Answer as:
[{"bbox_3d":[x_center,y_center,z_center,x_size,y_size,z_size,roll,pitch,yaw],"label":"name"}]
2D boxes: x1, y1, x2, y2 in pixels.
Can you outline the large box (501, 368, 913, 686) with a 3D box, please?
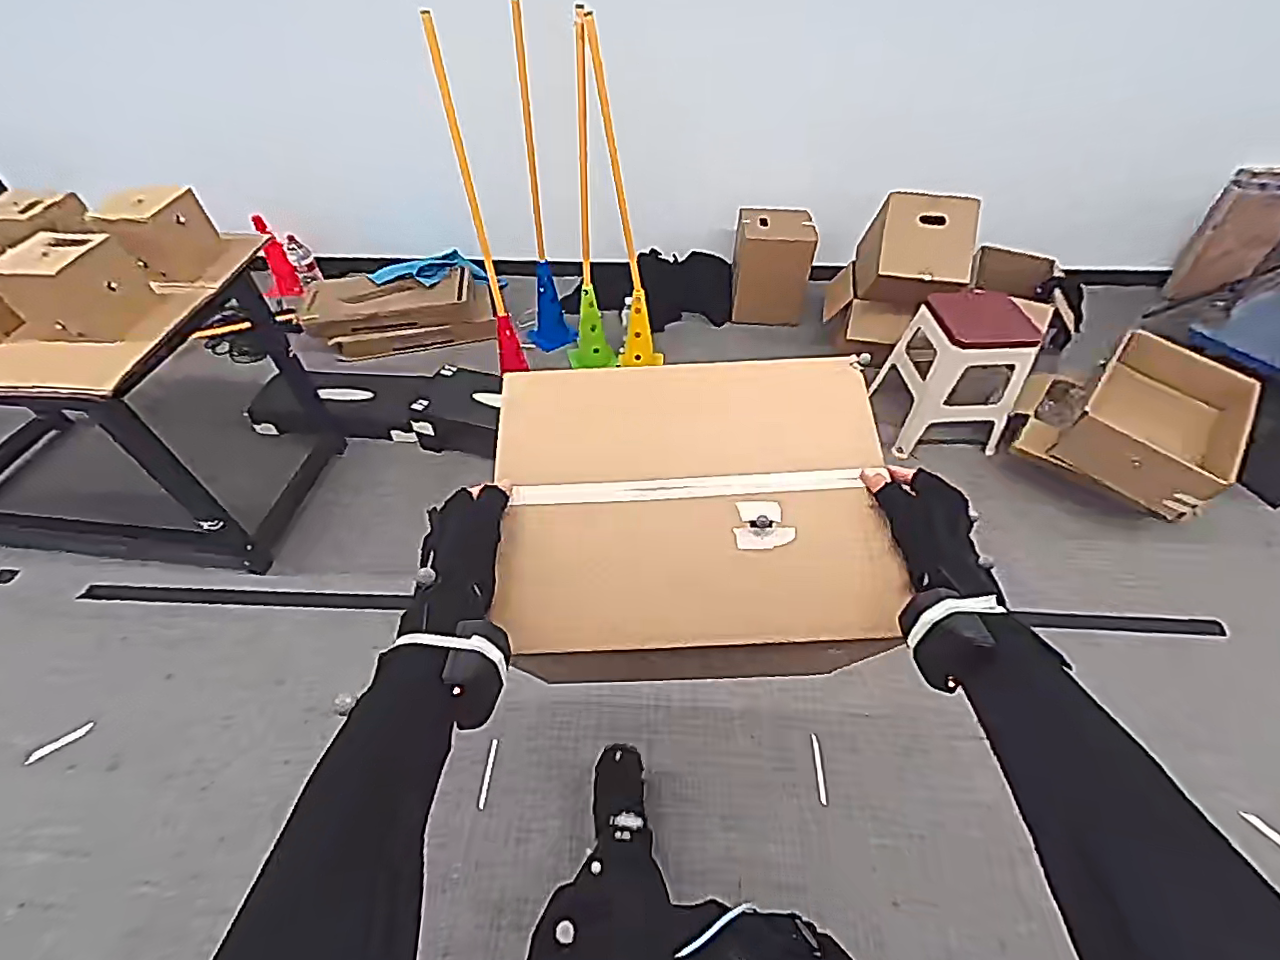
[{"bbox_3d":[0.058,0.081,0.711,0.408,0.320,0.320,-3,64,0],"label":"large box"}]
